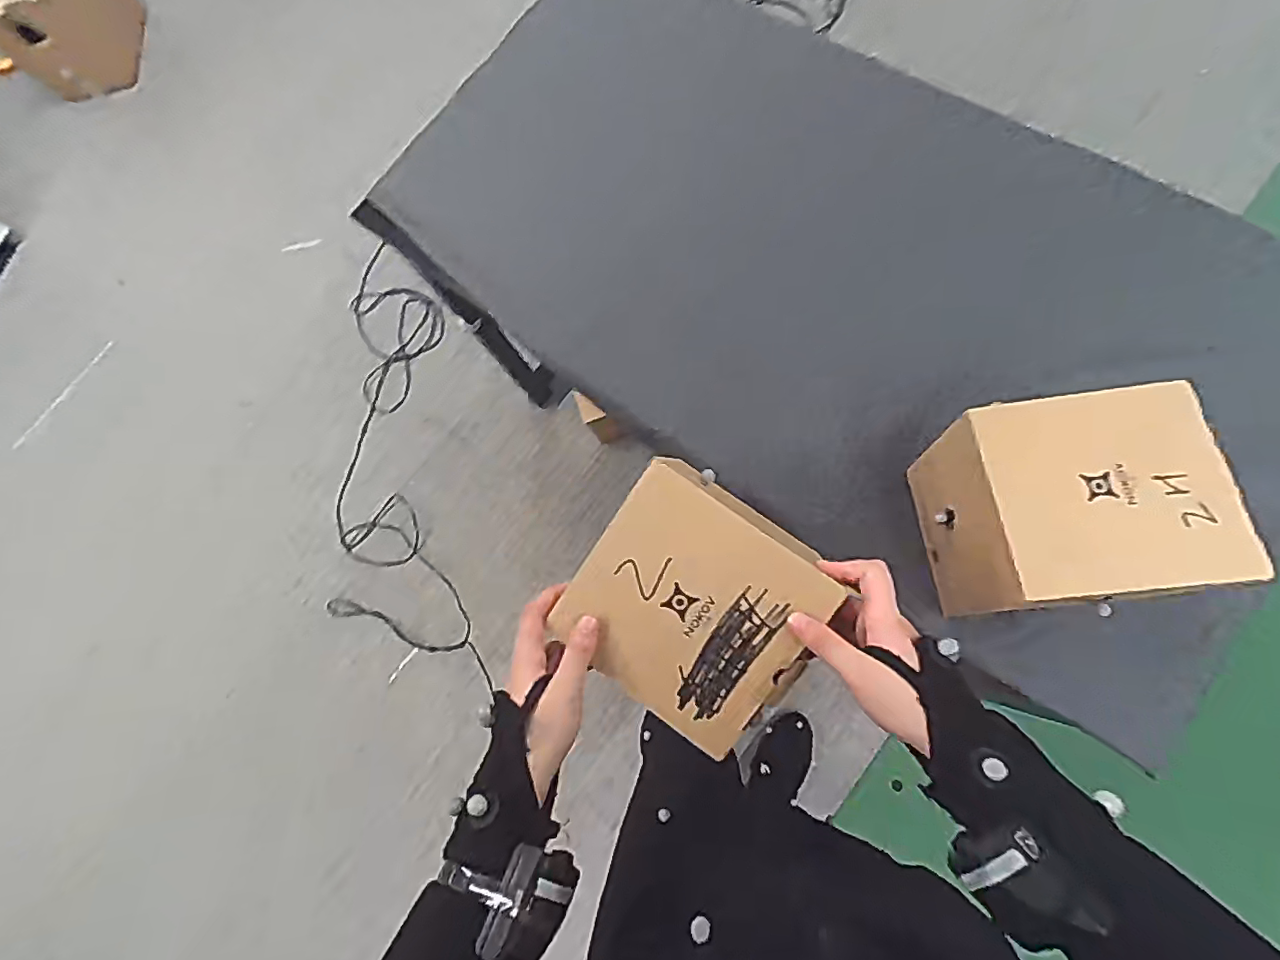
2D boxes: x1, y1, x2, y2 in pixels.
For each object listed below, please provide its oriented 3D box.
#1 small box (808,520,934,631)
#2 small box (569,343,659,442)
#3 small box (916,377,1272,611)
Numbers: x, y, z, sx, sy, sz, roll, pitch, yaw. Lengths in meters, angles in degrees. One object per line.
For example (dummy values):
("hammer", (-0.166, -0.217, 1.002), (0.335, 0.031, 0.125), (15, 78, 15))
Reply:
("small box", (0.497, 0.216, 1.197), (0.179, 0.176, 0.168), (43, 86, 15))
("small box", (-0.062, -0.218, 1.400), (0.179, 0.176, 0.168), (-20, 73, 3))
("small box", (0.377, 0.027, 0.499), (0.179, 0.176, 0.168), (-7, 72, 6))
